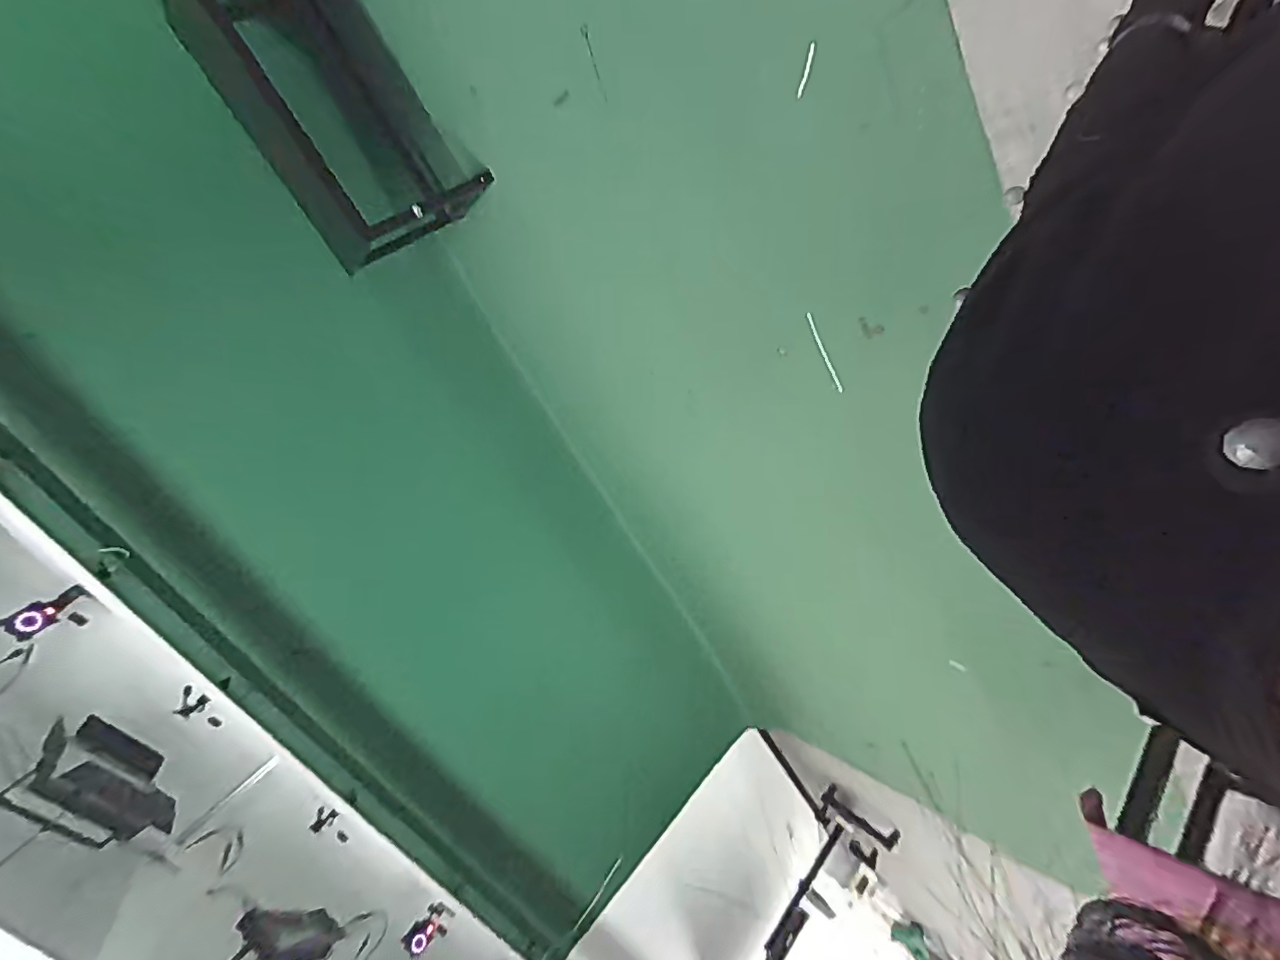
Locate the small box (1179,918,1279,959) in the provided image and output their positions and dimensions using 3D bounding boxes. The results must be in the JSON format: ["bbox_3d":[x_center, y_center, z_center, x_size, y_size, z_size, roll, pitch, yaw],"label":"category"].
[{"bbox_3d":[1.233,1.044,1.096,0.168,0.176,0.179,57,155,-19],"label":"small box"}]
